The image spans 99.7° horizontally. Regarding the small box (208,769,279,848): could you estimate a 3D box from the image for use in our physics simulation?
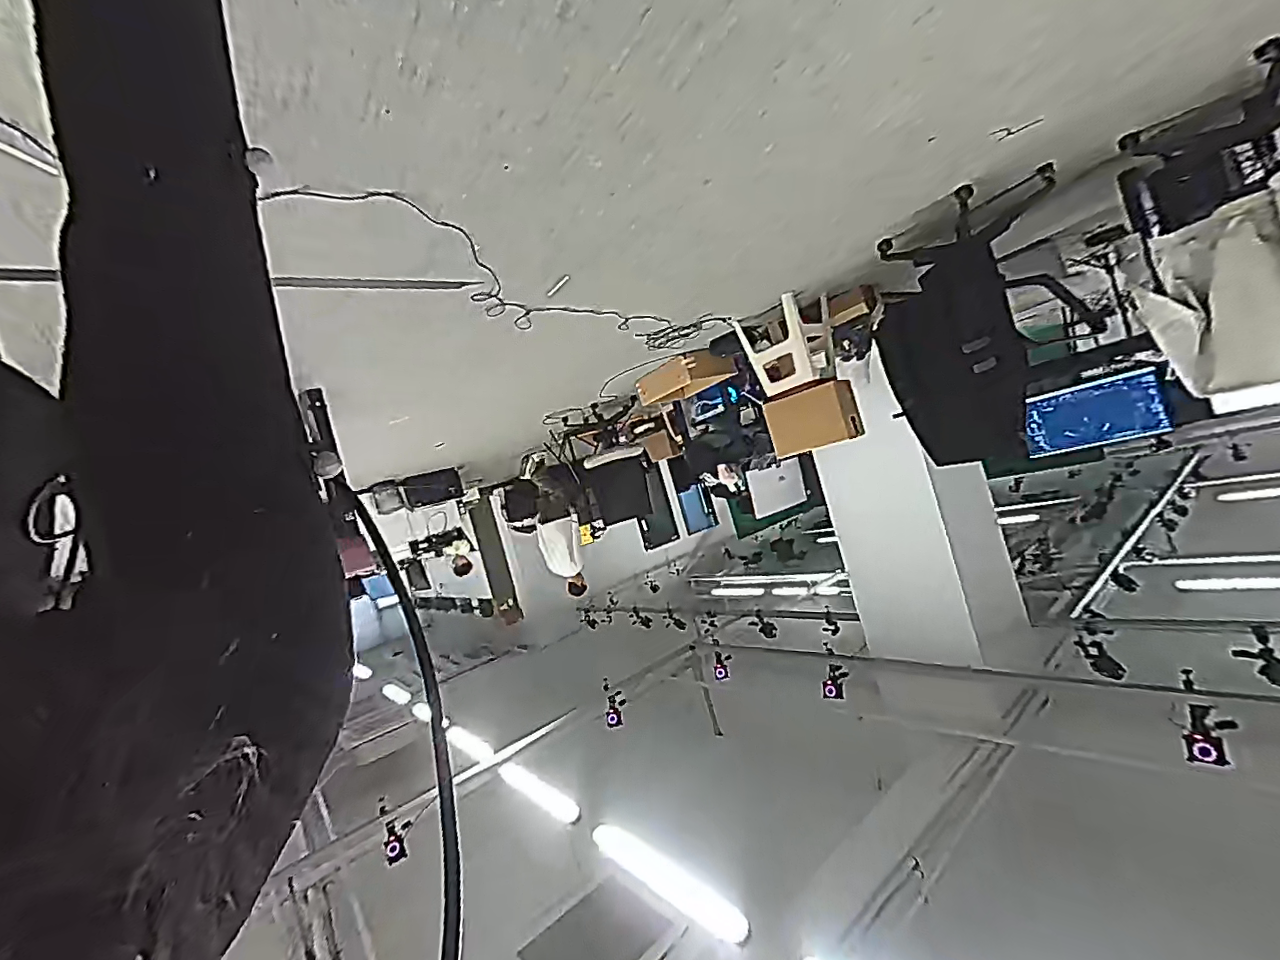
[{"bbox_3d":[-1.433,1.176,1.961,0.179,0.176,0.168,-15,178,-35],"label":"small box"}]
